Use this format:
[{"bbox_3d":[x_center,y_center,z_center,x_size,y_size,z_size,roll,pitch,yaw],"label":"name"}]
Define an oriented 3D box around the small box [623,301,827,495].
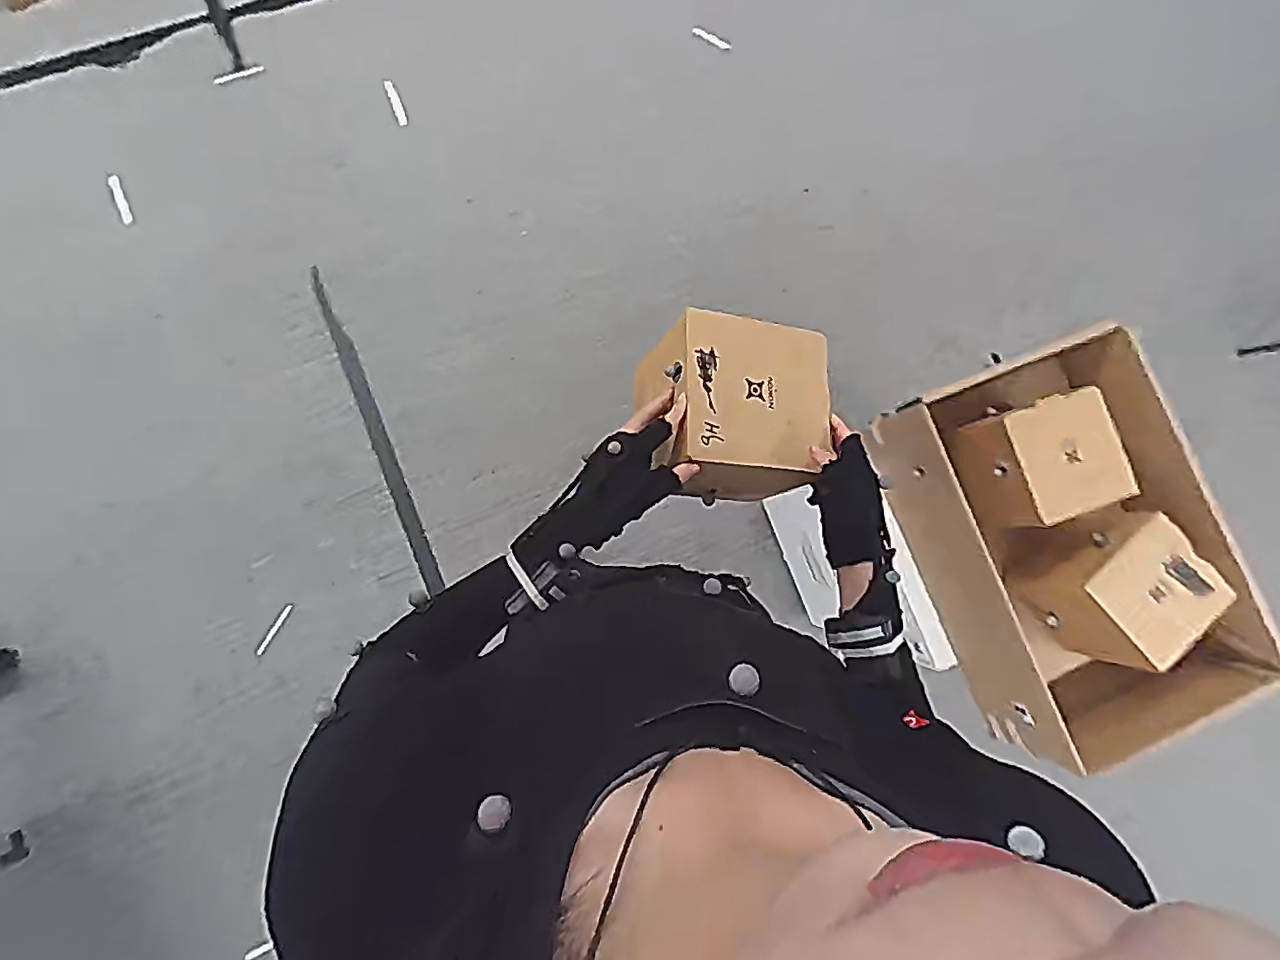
[{"bbox_3d":[0.091,-0.080,0.634,0.179,0.176,0.168,5,76,-20],"label":"small box"}]
